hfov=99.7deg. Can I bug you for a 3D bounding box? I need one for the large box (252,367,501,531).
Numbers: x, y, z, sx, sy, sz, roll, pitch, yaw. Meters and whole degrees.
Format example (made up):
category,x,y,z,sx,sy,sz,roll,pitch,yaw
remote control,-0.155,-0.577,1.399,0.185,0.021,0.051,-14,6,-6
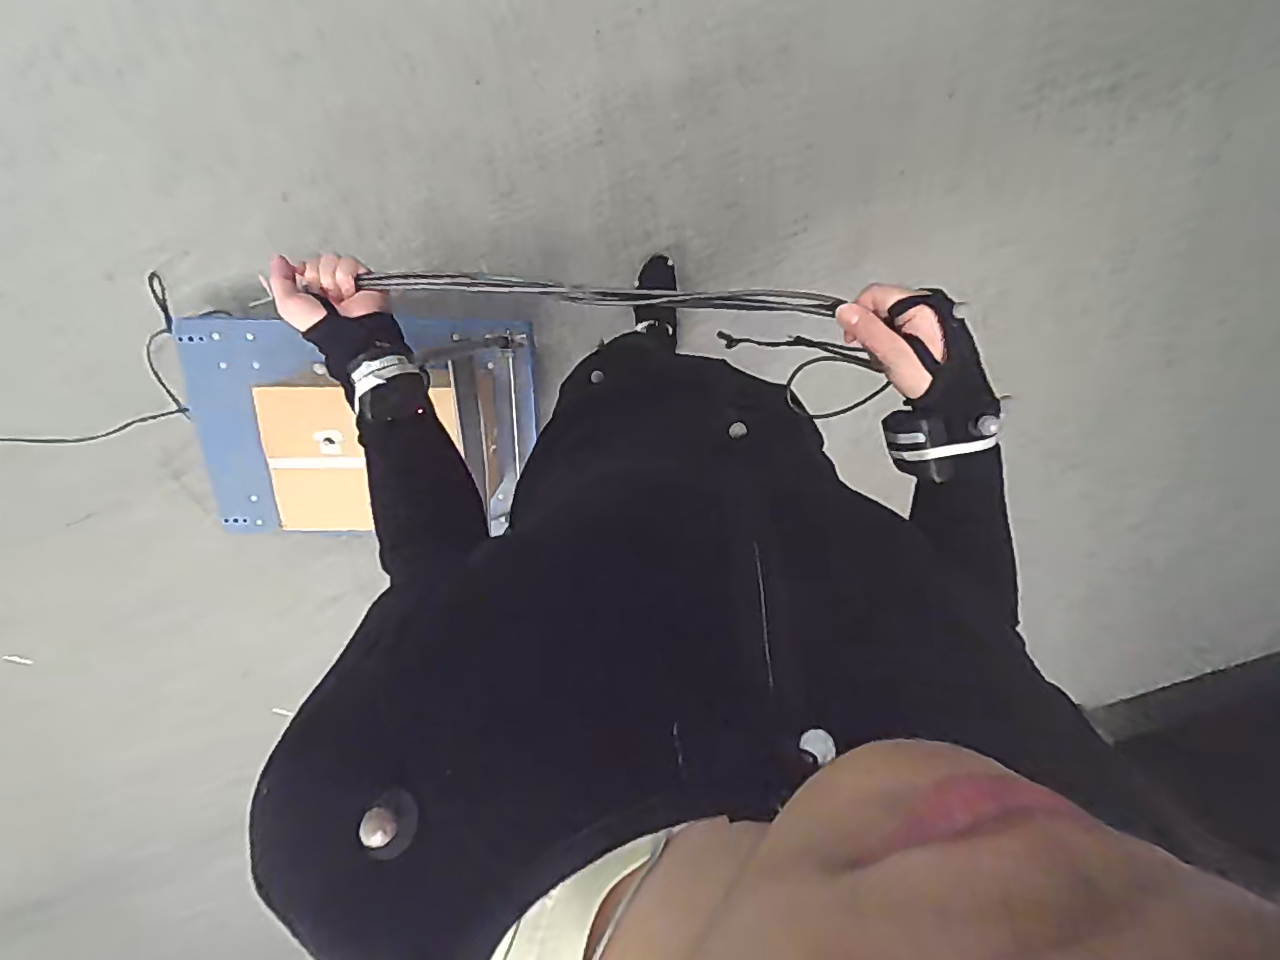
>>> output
category,x,y,z,sx,sy,sz,roll,pitch,yaw
large box,-0.567,-0.085,1.251,0.408,0.320,0.320,0,107,-1
